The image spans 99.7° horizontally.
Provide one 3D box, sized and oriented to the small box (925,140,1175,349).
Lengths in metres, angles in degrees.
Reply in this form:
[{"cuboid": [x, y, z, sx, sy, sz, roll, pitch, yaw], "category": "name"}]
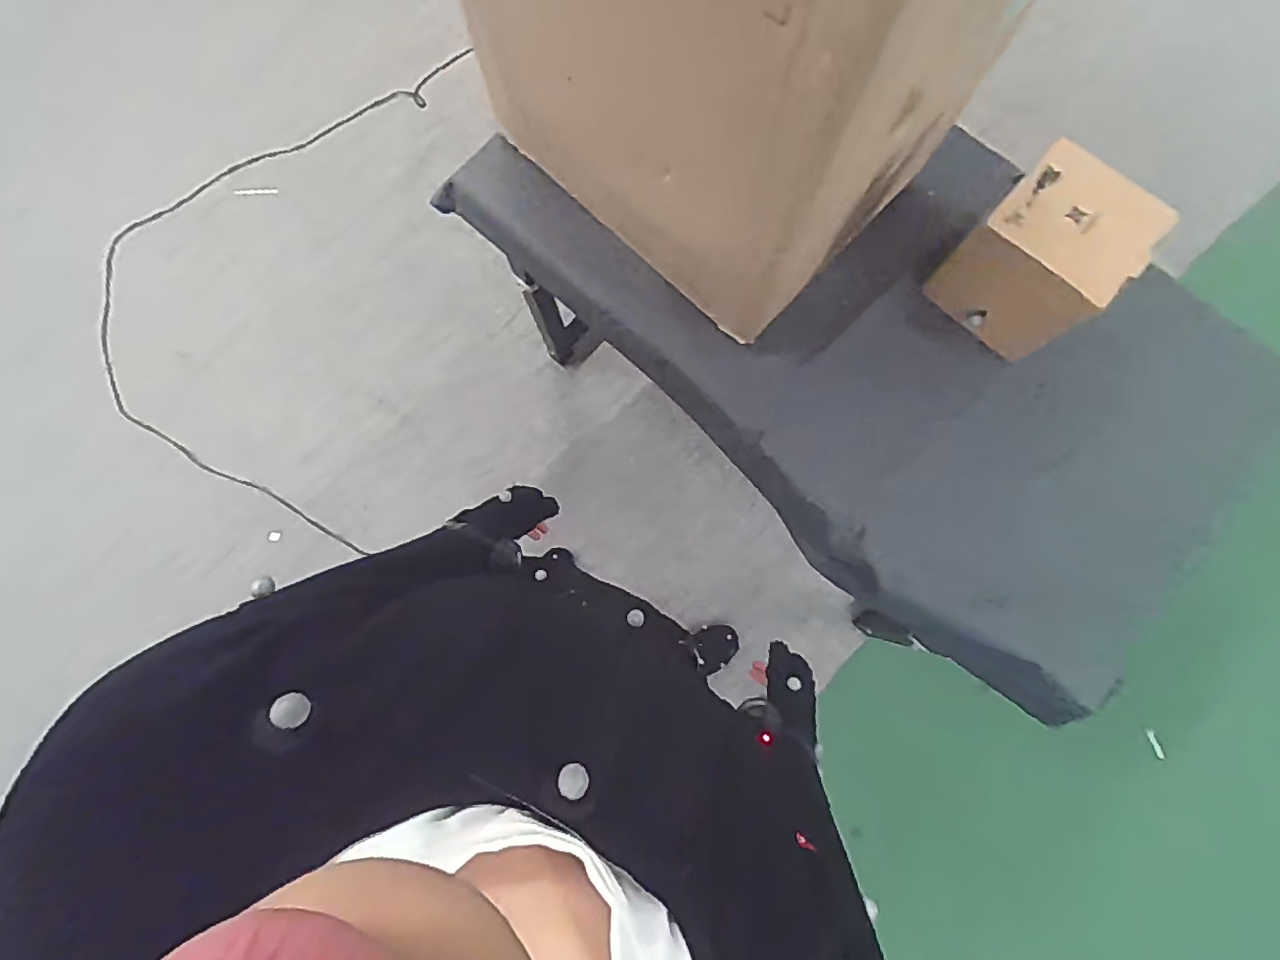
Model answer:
[{"cuboid": [0.546, -0.306, 0.748, 0.179, 0.176, 0.168, 42, 83, 8], "category": "small box"}]
